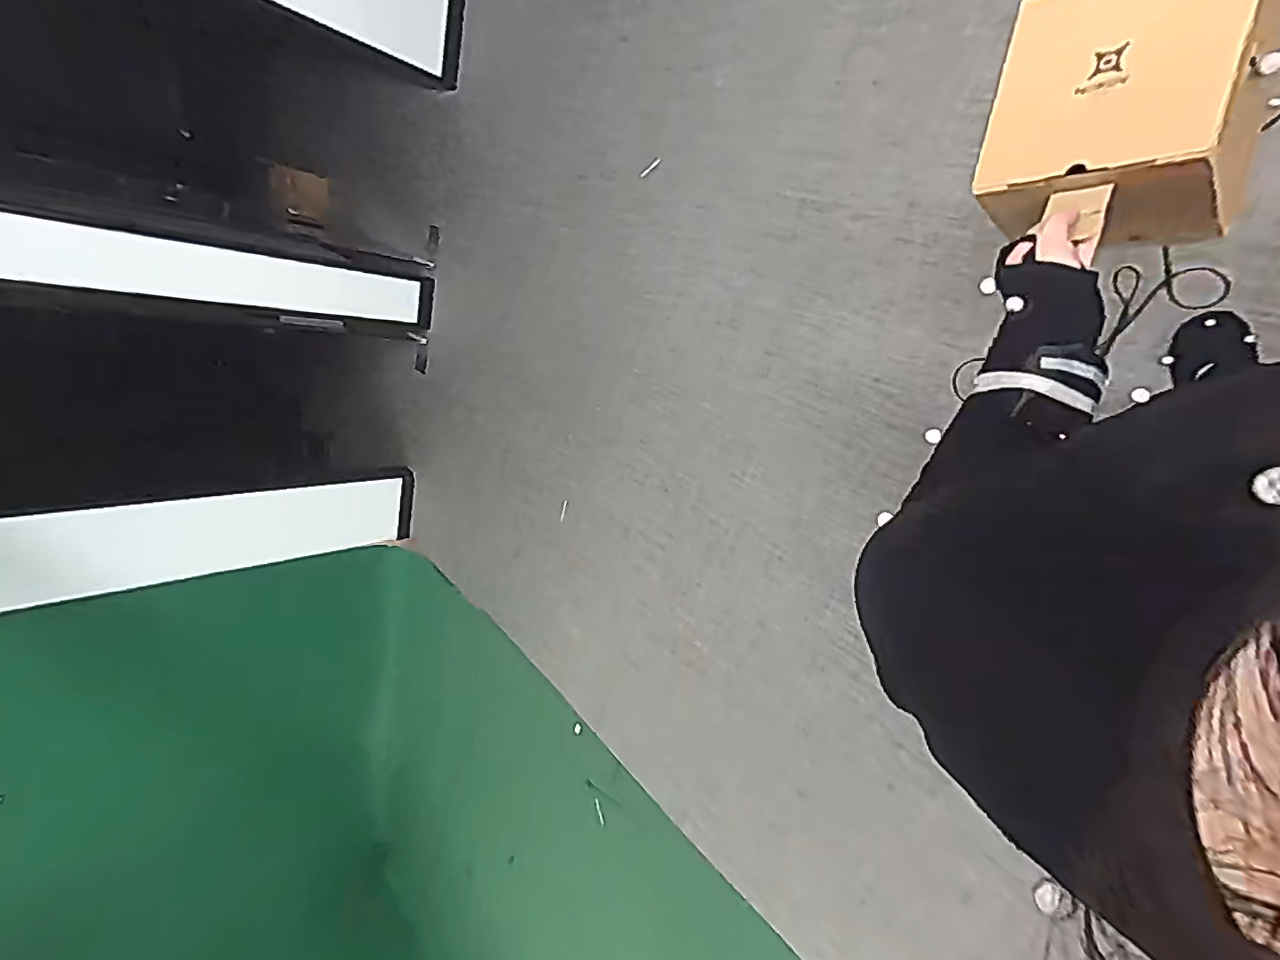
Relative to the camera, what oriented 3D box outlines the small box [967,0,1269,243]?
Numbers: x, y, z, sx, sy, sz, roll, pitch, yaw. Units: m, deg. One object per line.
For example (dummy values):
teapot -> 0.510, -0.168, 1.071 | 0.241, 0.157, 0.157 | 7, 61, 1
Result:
small box -> 0.446, -0.348, 0.510 | 0.168, 0.176, 0.179 | 20, 101, 48
